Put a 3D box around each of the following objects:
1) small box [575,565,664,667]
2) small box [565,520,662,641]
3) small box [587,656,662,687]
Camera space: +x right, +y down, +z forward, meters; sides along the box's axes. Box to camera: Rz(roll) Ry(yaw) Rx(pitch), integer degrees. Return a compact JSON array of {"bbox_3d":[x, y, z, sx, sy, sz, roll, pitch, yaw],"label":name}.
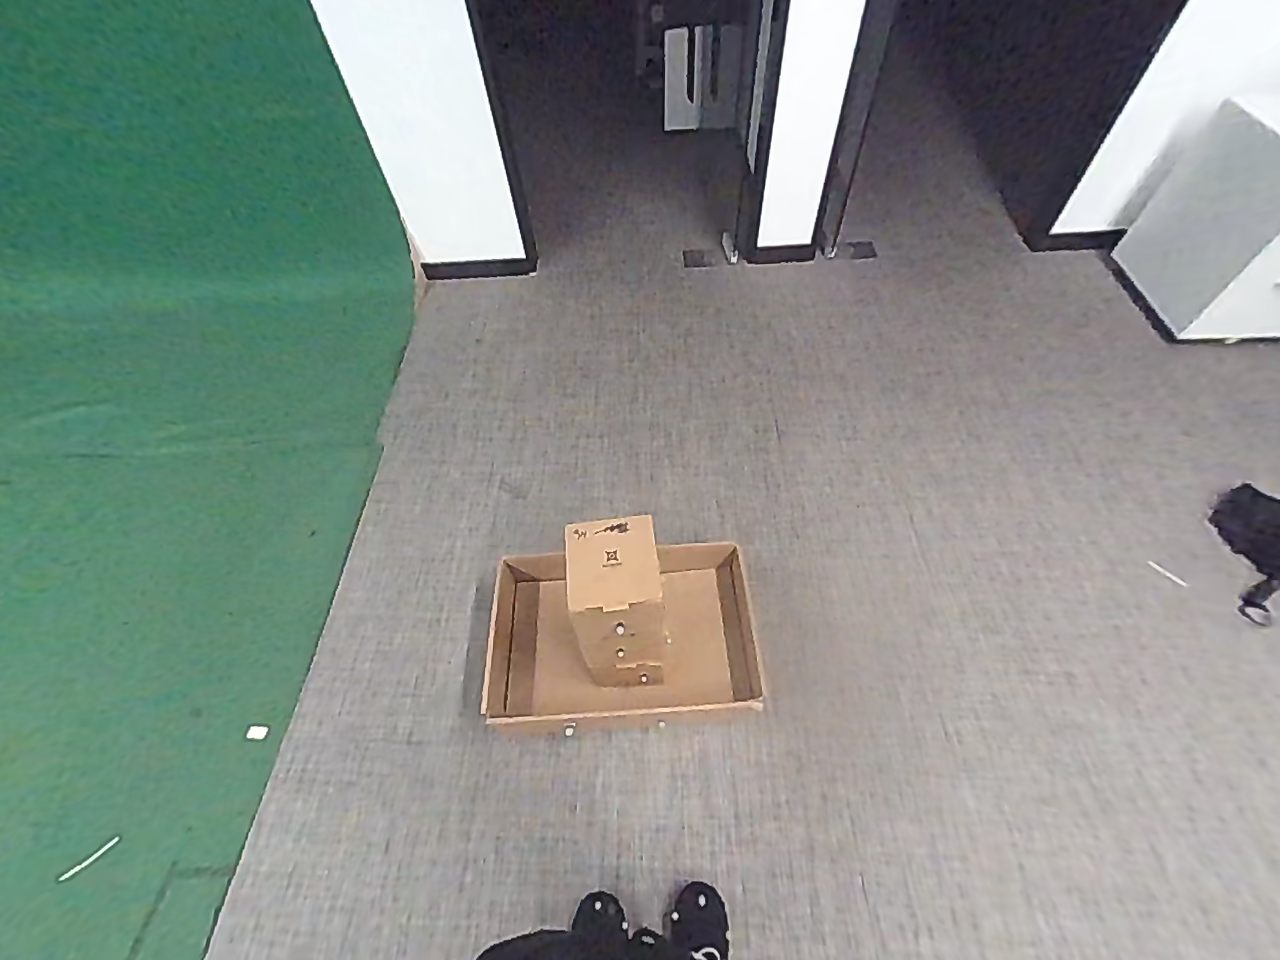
[{"bbox_3d":[-0.039,0.295,1.163,0.179,0.176,0.168,-4,54,1],"label":"small box"},{"bbox_3d":[-0.049,0.199,1.032,0.168,0.176,0.179,-6,55,-1],"label":"small box"},{"bbox_3d":[-0.032,0.390,1.296,0.168,0.176,0.179,-2,53,1],"label":"small box"}]
